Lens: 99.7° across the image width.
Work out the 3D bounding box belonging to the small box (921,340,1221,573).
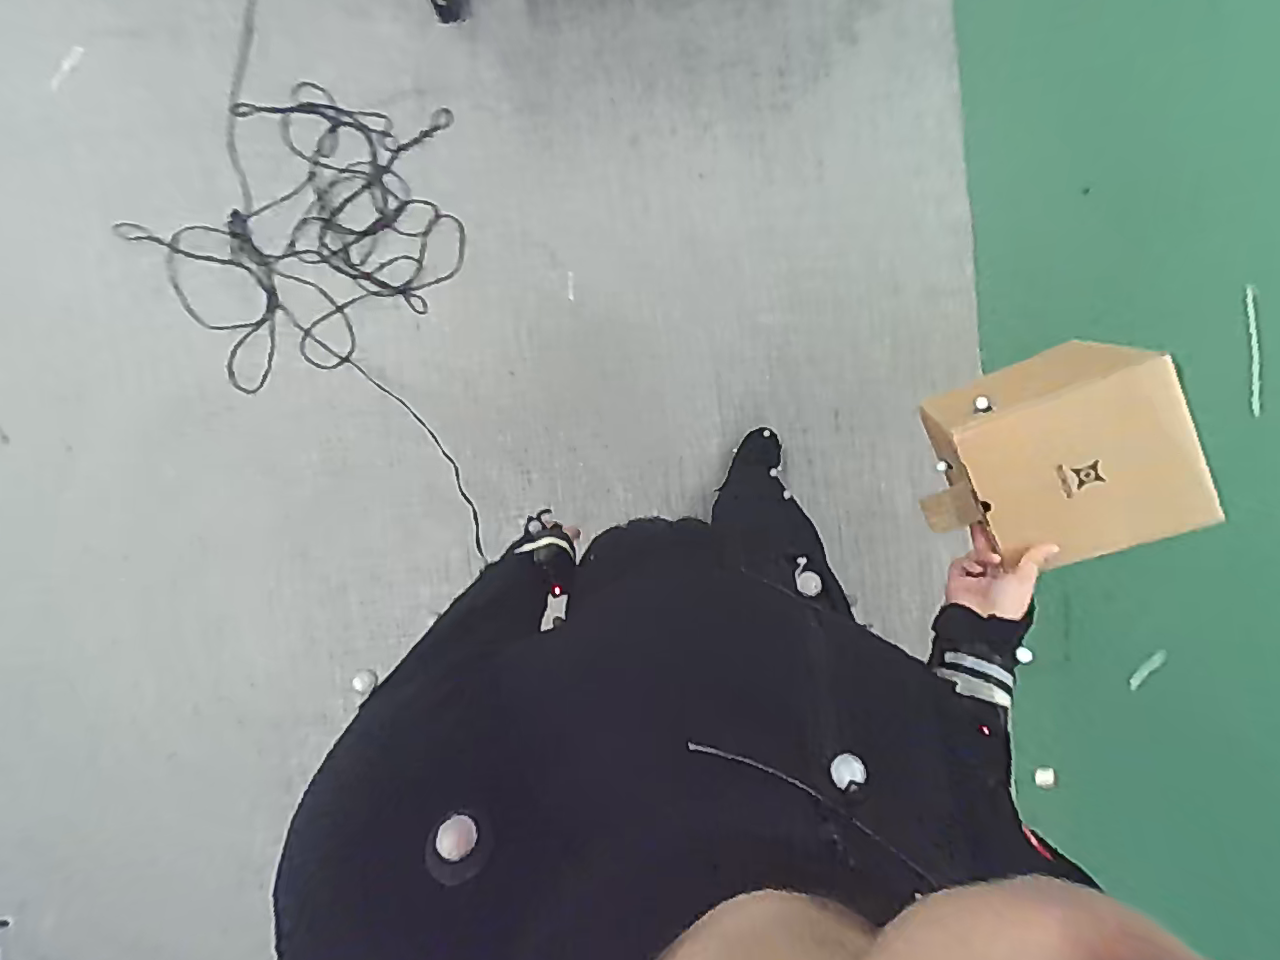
[{"bbox_3d":[0.428,-0.034,0.570,0.179,0.176,0.168,-24,100,23],"label":"small box"}]
